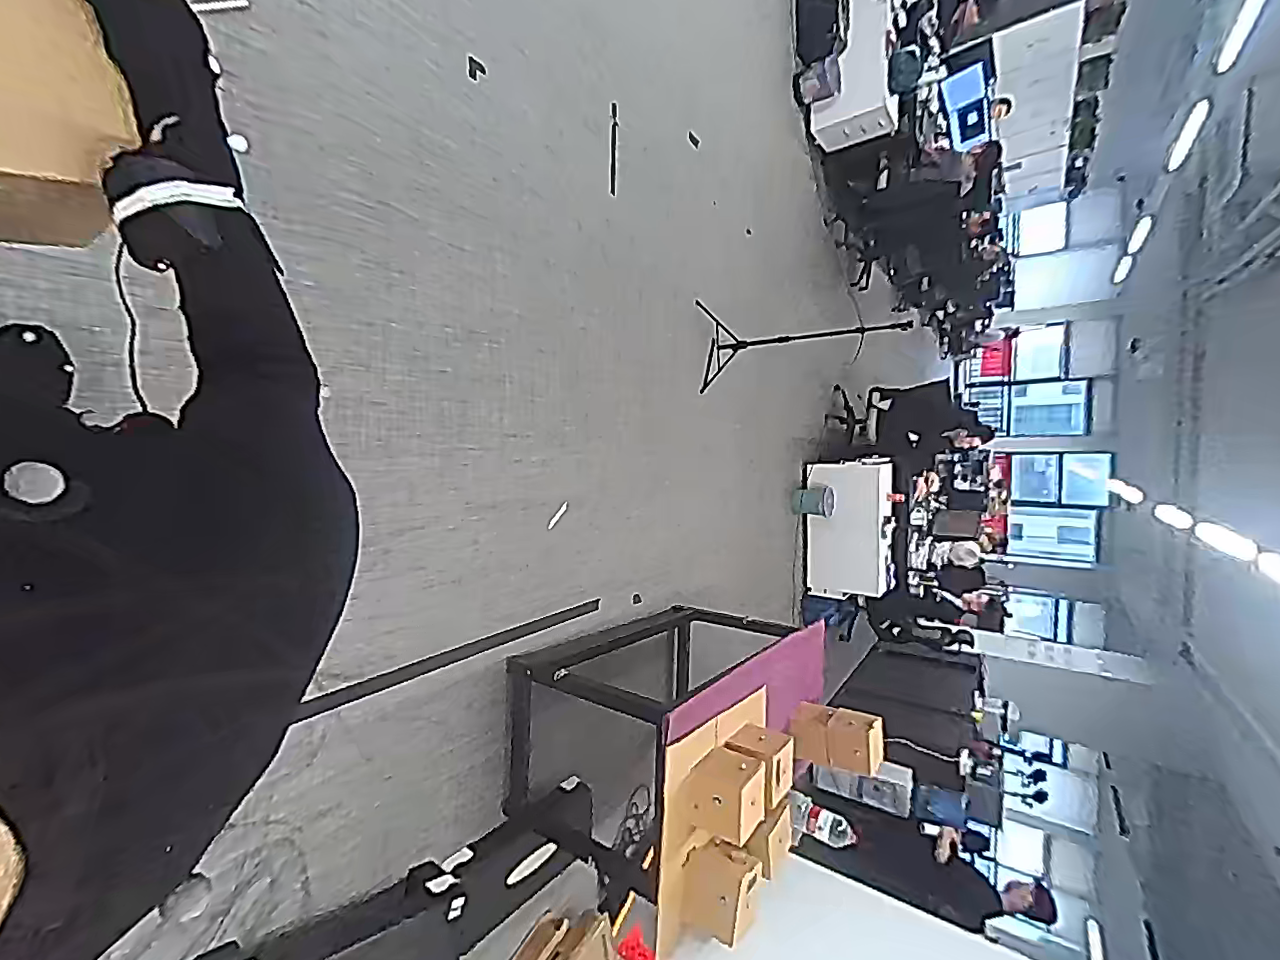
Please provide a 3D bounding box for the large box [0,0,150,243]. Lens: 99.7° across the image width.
[{"bbox_3d":[-0.621,-0.343,0.318,0.408,0.320,0.320,-19,113,-50],"label":"large box"}]
